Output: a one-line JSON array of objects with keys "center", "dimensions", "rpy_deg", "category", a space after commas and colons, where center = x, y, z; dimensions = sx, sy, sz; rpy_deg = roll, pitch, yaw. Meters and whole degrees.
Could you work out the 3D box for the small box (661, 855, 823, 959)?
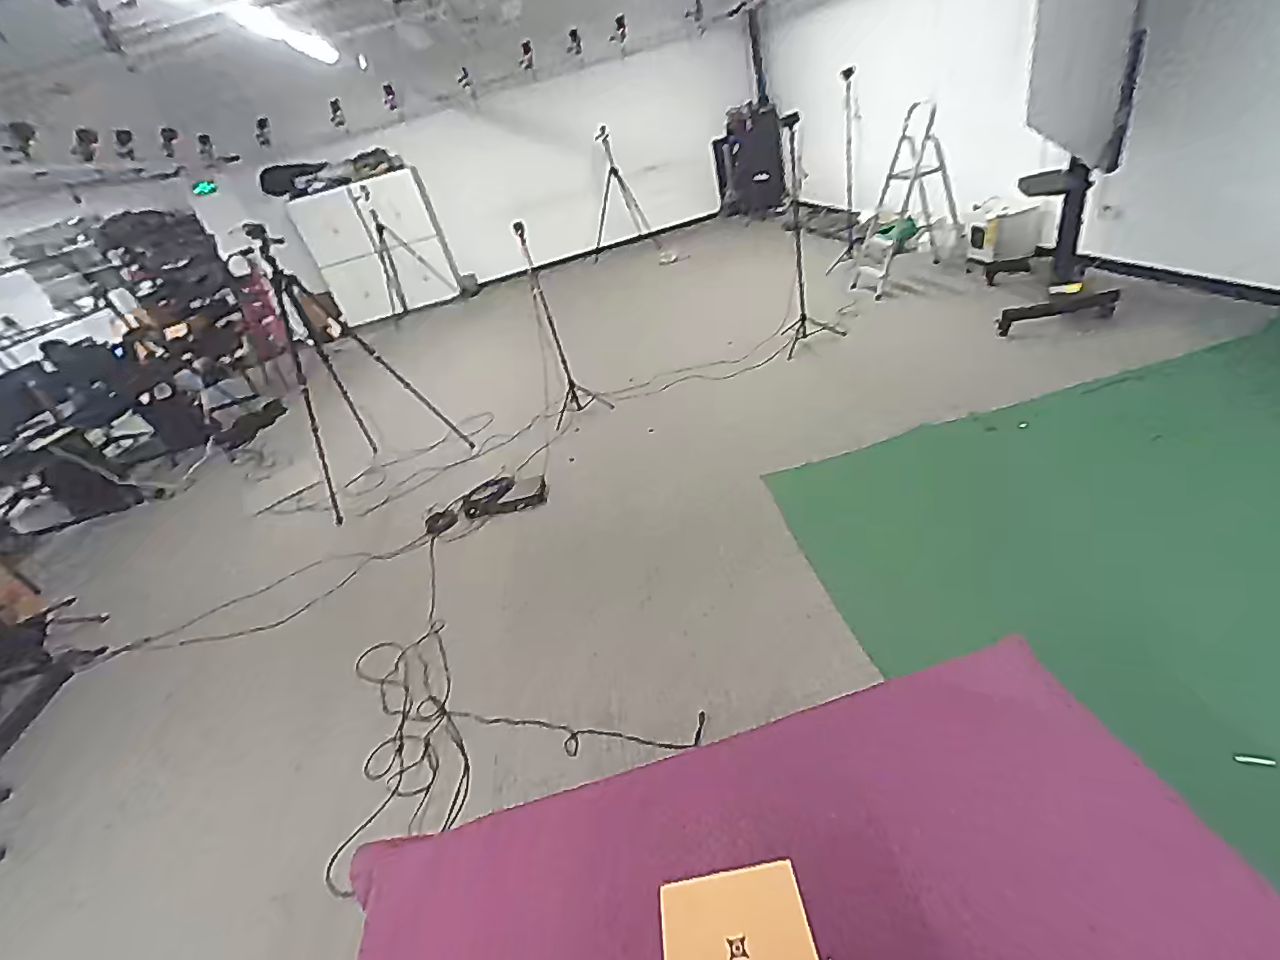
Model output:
[{"center": [0.123, 0.571, 0.601], "dimensions": [0.168, 0.176, 0.179], "rpy_deg": [-13, 20, 3], "category": "small box"}]
